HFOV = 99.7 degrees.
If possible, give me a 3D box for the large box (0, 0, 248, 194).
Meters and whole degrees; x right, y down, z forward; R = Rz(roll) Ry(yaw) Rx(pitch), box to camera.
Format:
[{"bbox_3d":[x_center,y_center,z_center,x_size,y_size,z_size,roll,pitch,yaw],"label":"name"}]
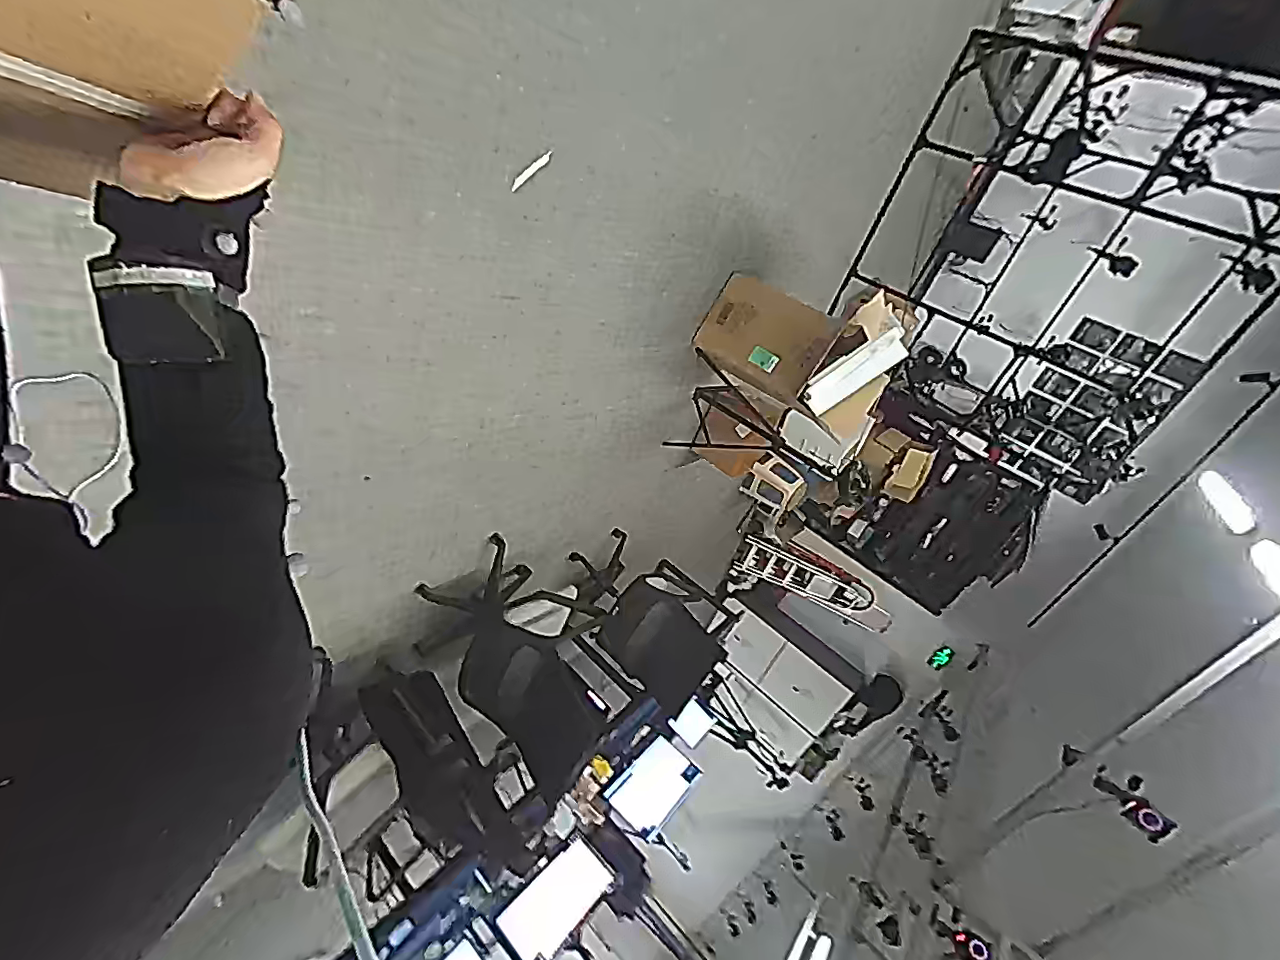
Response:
[{"bbox_3d":[-0.445,-0.390,0.210,0.408,0.320,0.320,-9,91,-54],"label":"large box"}]
